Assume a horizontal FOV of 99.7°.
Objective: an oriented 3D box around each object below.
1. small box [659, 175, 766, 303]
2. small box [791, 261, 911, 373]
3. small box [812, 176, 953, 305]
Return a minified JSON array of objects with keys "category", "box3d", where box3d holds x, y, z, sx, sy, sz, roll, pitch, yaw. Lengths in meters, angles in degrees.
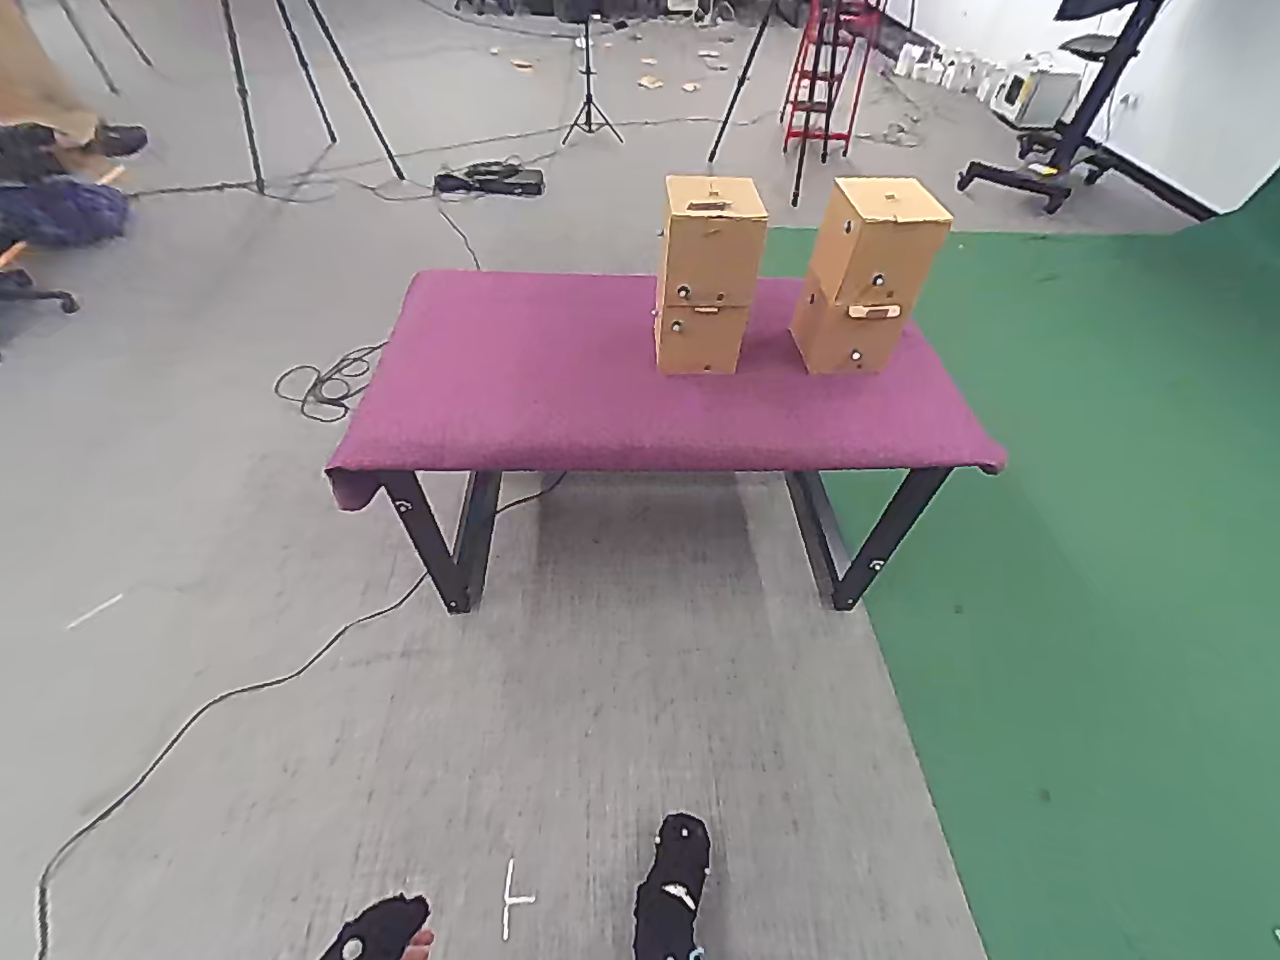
[{"category":"small box","box3d":[0.125,-0.446,1.008,0.168,0.176,0.179,0,49,-3]},{"category":"small box","box3d":[0.439,-0.349,1.159,0.168,0.176,0.179,-3,51,-4]},{"category":"small box","box3d":[0.448,-0.457,1.037,0.168,0.176,0.179,-2,51,-5]}]
